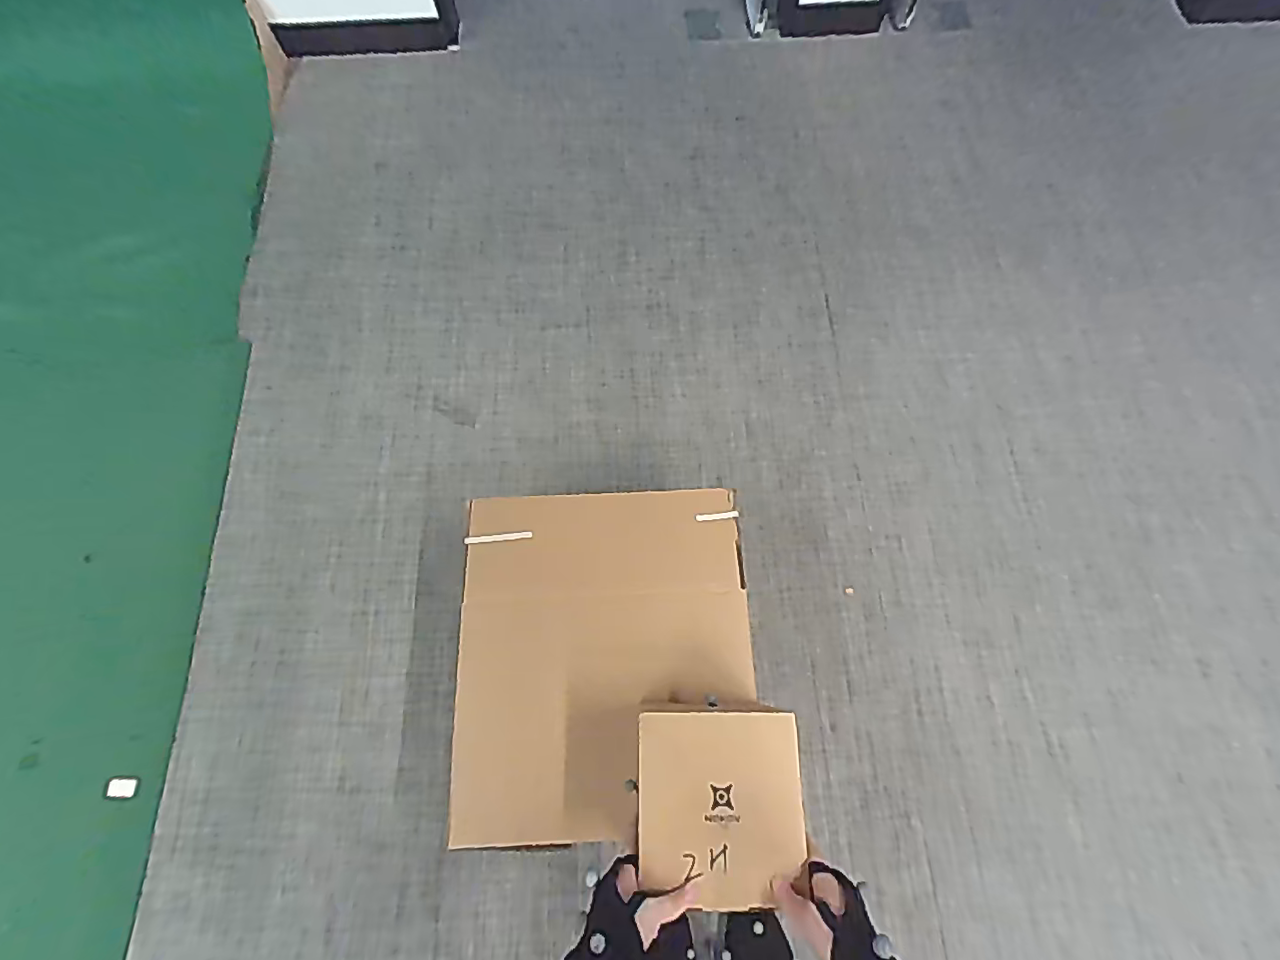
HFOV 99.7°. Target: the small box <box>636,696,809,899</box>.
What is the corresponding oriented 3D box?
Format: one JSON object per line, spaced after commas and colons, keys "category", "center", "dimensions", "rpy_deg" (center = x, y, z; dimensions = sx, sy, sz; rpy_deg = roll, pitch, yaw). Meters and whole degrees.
{"category": "small box", "center": [0.079, 0.344, 0.620], "dimensions": [0.168, 0.176, 0.179], "rpy_deg": [0, 71, -1]}
